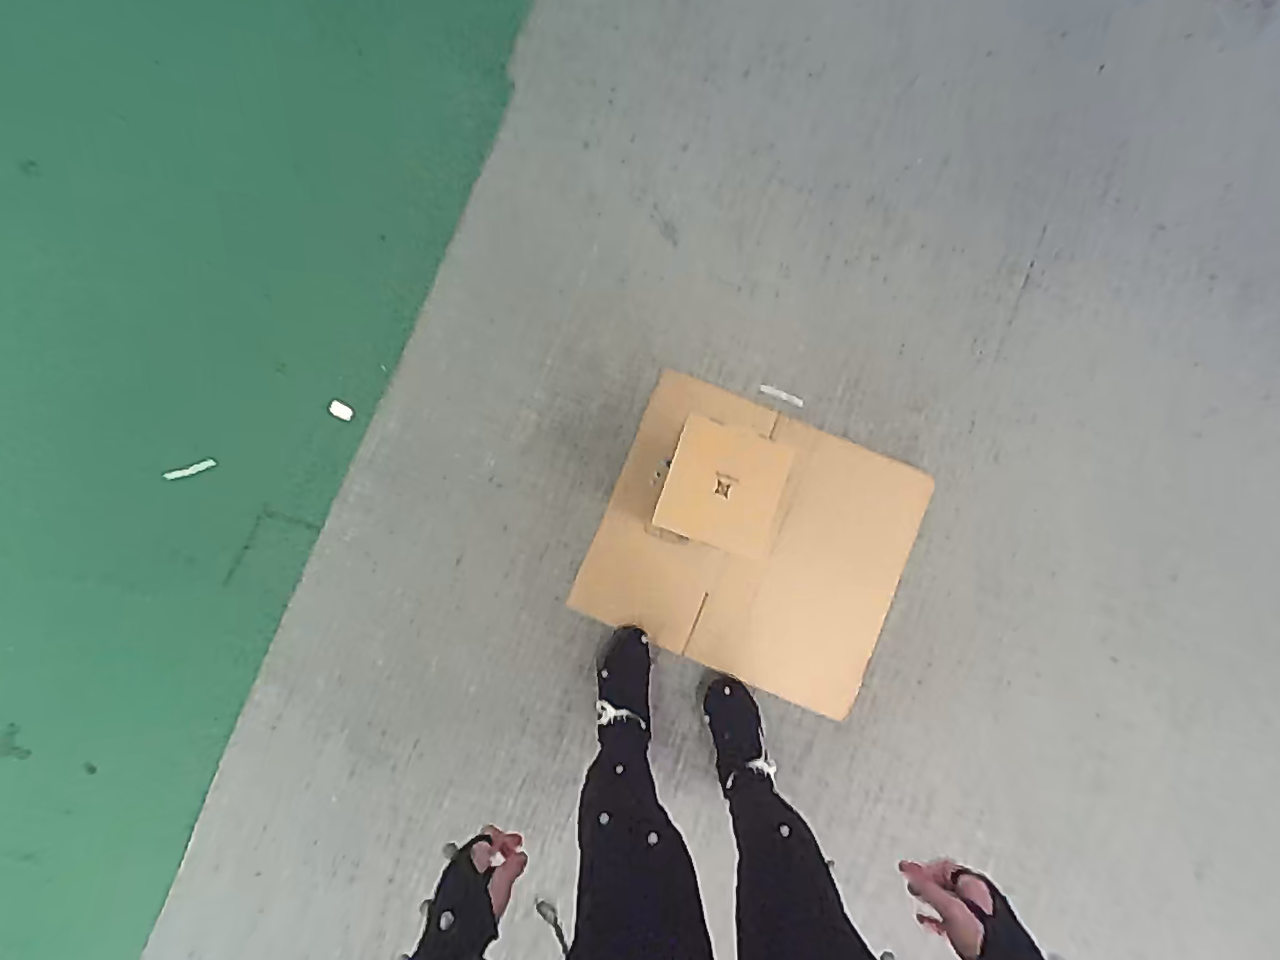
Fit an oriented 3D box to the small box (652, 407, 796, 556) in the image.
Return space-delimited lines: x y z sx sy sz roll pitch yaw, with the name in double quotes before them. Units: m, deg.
"small box" 0.123 0.007 0.851 0.168 0.176 0.179 18 86 2
